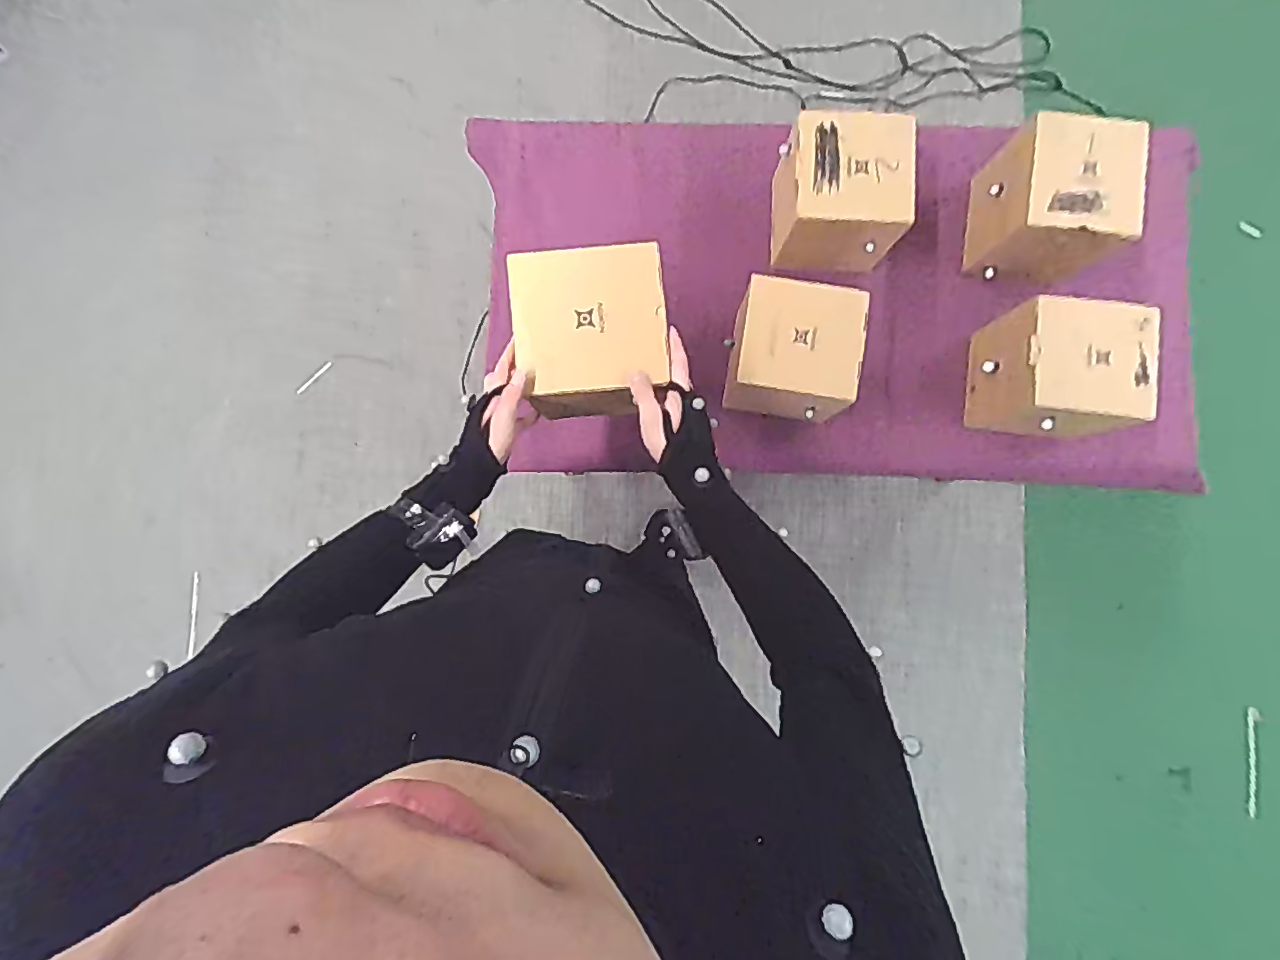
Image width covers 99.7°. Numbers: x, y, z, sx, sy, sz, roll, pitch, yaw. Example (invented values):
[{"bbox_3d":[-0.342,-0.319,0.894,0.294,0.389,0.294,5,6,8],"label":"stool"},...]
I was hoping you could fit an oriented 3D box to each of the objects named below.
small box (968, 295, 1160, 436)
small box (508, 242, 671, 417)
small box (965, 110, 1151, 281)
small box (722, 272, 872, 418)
[{"bbox_3d":[0.646,-0.169,0.844,0.179,0.176,0.168,7,86,2],"label":"small box"},{"bbox_3d":[-0.058,-0.177,0.683,0.179,0.176,0.168,-5,87,-2],"label":"small box"},{"bbox_3d":[0.650,-0.440,0.862,0.168,0.176,0.179,8,86,1],"label":"small box"},{"bbox_3d":[0.237,-0.201,0.853,0.179,0.176,0.168,10,85,2],"label":"small box"}]
